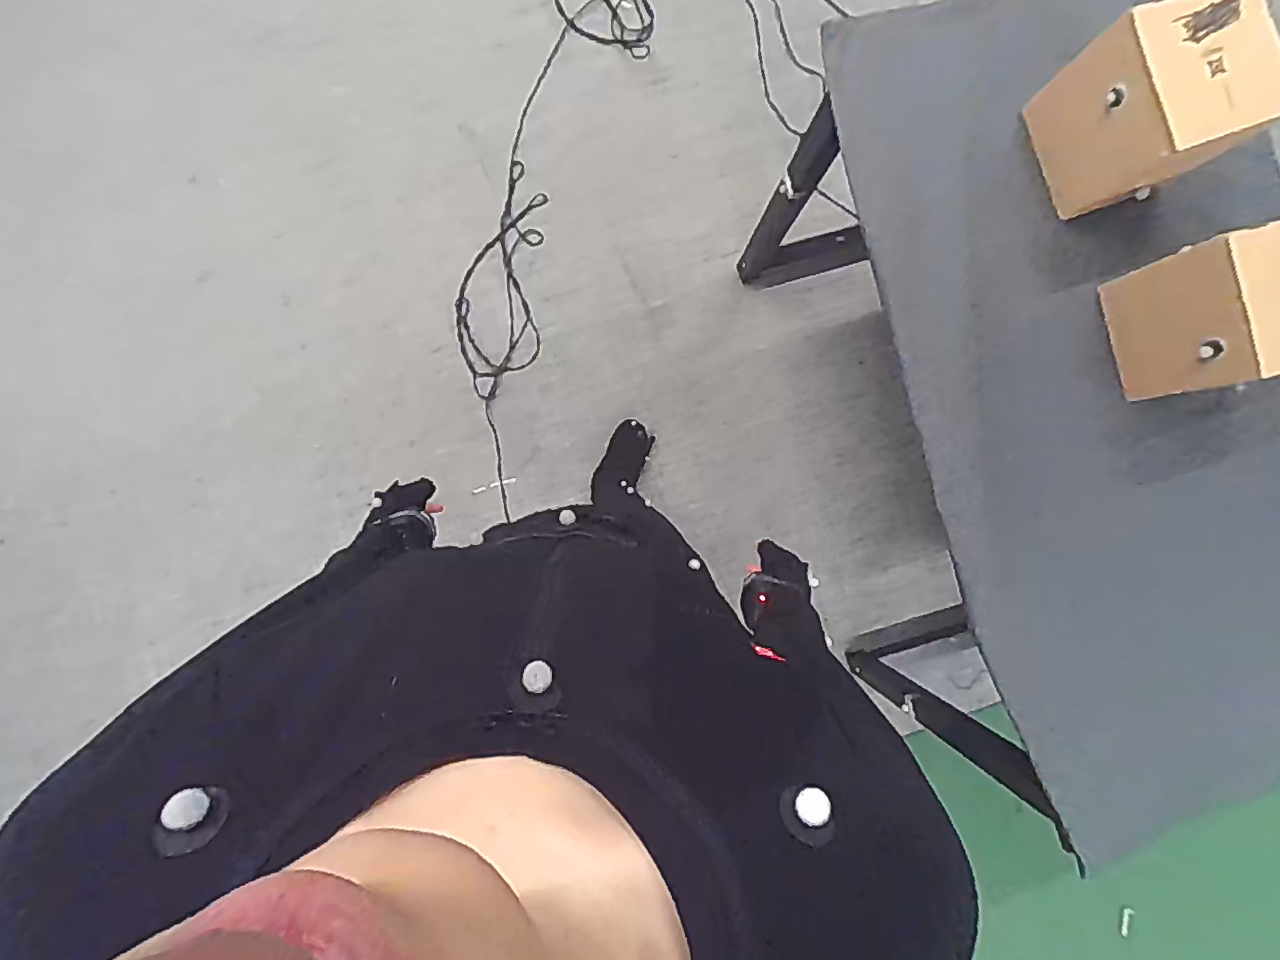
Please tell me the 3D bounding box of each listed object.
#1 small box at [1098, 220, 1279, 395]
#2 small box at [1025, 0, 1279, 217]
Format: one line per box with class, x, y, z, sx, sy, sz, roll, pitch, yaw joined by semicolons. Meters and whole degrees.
small box;0.758;-0.216;0.704;0.168;0.176;0.179;-14;89;-3
small box;0.653;-0.484;0.705;0.168;0.176;0.179;-20;90;-3
